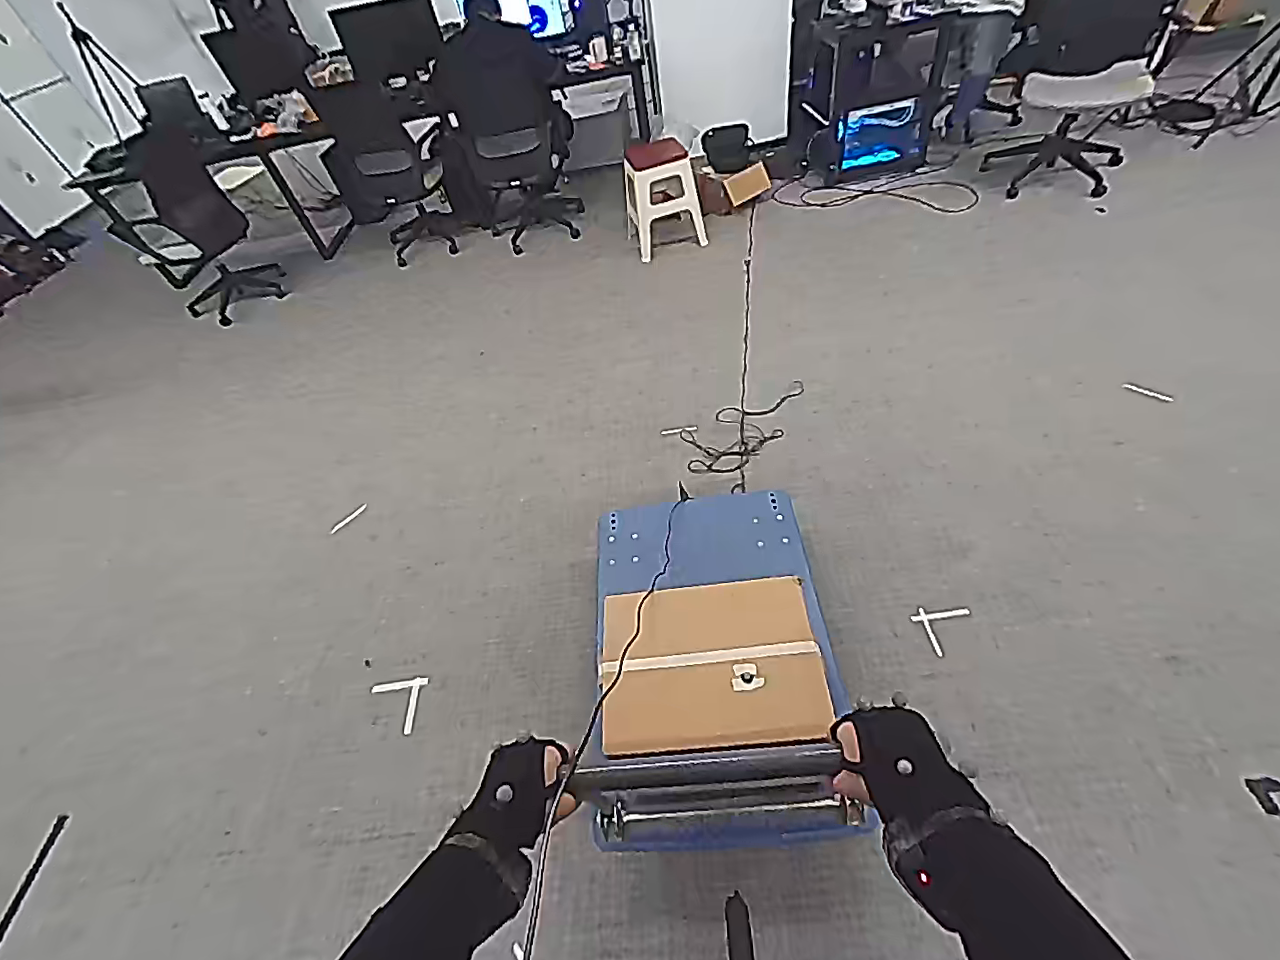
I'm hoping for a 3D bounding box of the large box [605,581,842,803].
[{"bbox_3d":[0.151,0.440,1.107,0.408,0.320,0.320,-7,49,5],"label":"large box"}]
